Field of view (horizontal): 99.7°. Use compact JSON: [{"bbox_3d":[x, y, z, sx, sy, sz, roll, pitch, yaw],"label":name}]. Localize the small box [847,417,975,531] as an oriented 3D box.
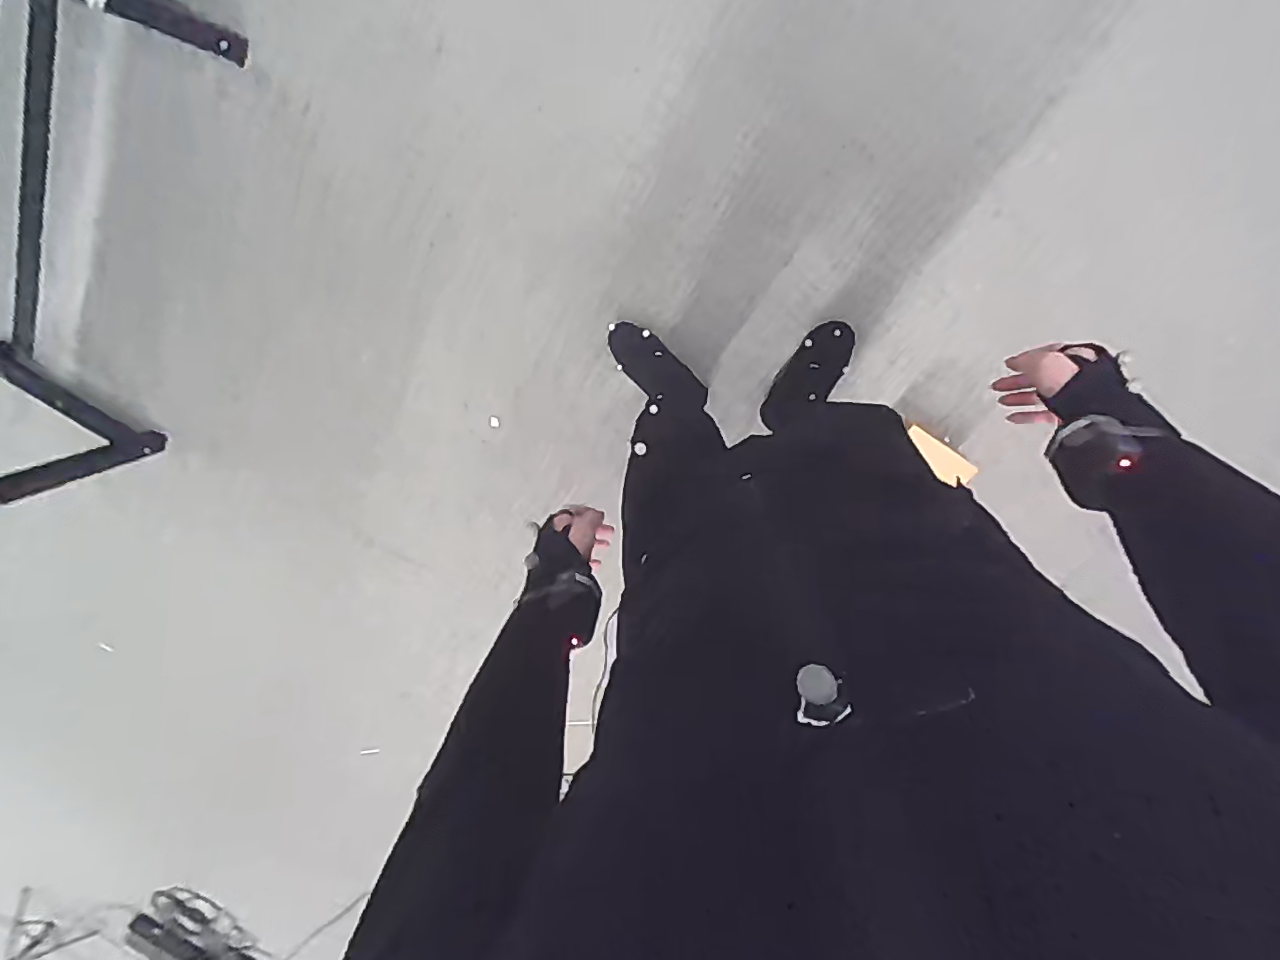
[{"bbox_3d":[0.605,-0.022,1.233,0.179,0.176,0.168,34,112,-3],"label":"small box"}]
